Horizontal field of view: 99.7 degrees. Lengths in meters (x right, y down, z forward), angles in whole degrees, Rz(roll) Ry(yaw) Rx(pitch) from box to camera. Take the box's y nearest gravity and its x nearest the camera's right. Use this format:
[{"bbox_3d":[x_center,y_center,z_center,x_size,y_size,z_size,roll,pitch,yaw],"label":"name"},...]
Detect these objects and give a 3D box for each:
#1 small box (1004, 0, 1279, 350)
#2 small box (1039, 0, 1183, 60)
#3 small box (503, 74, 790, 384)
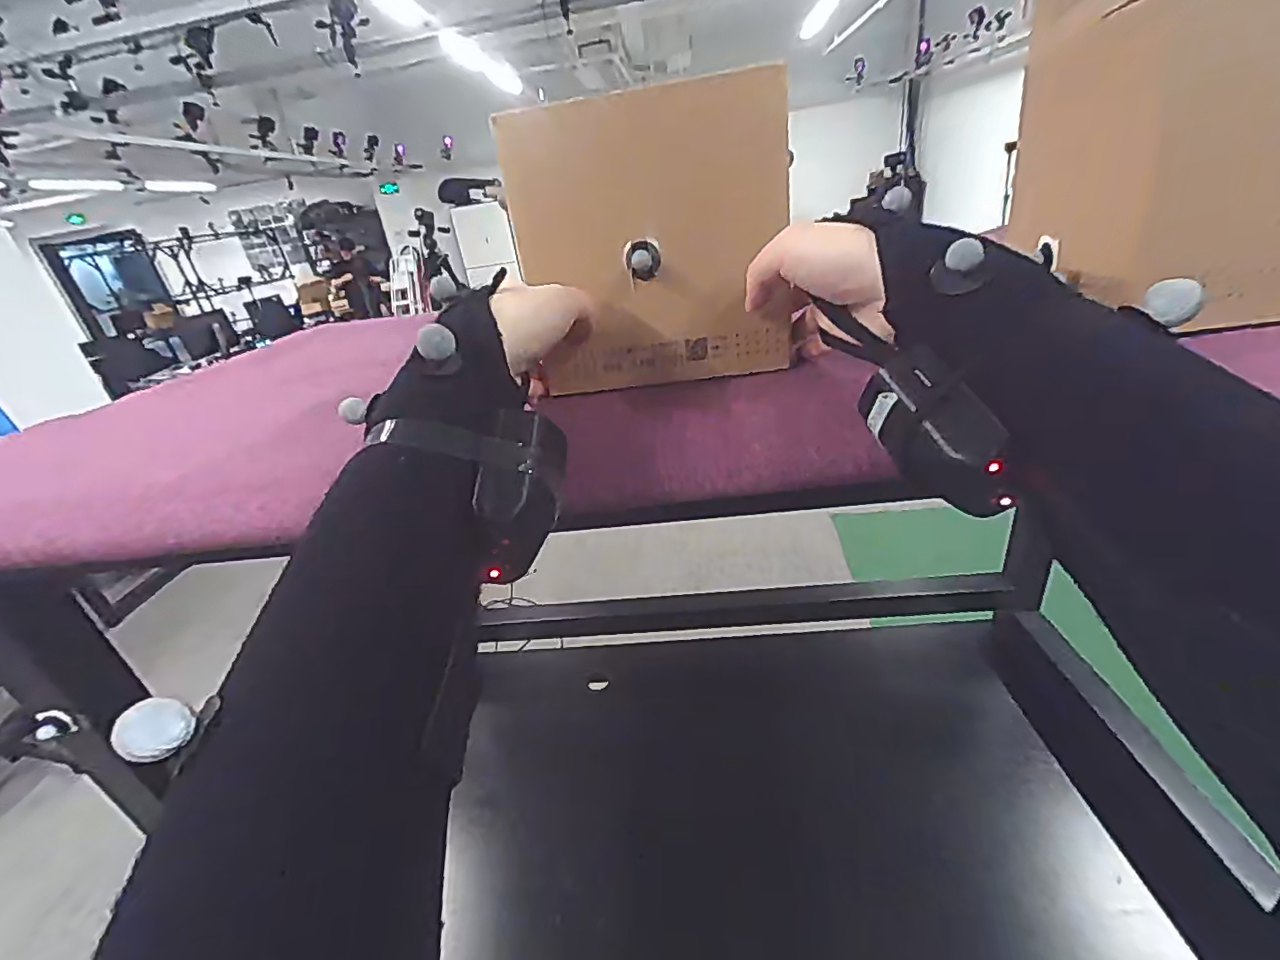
[{"bbox_3d":[0.359,-0.187,0.332,0.179,0.176,0.168,-5,24,12],"label":"small box"},{"bbox_3d":[0.333,-0.336,0.271,0.179,0.176,0.168,-3,25,14],"label":"small box"},{"bbox_3d":[0.018,-0.174,0.408,0.168,0.176,0.179,-4,26,7],"label":"small box"}]
